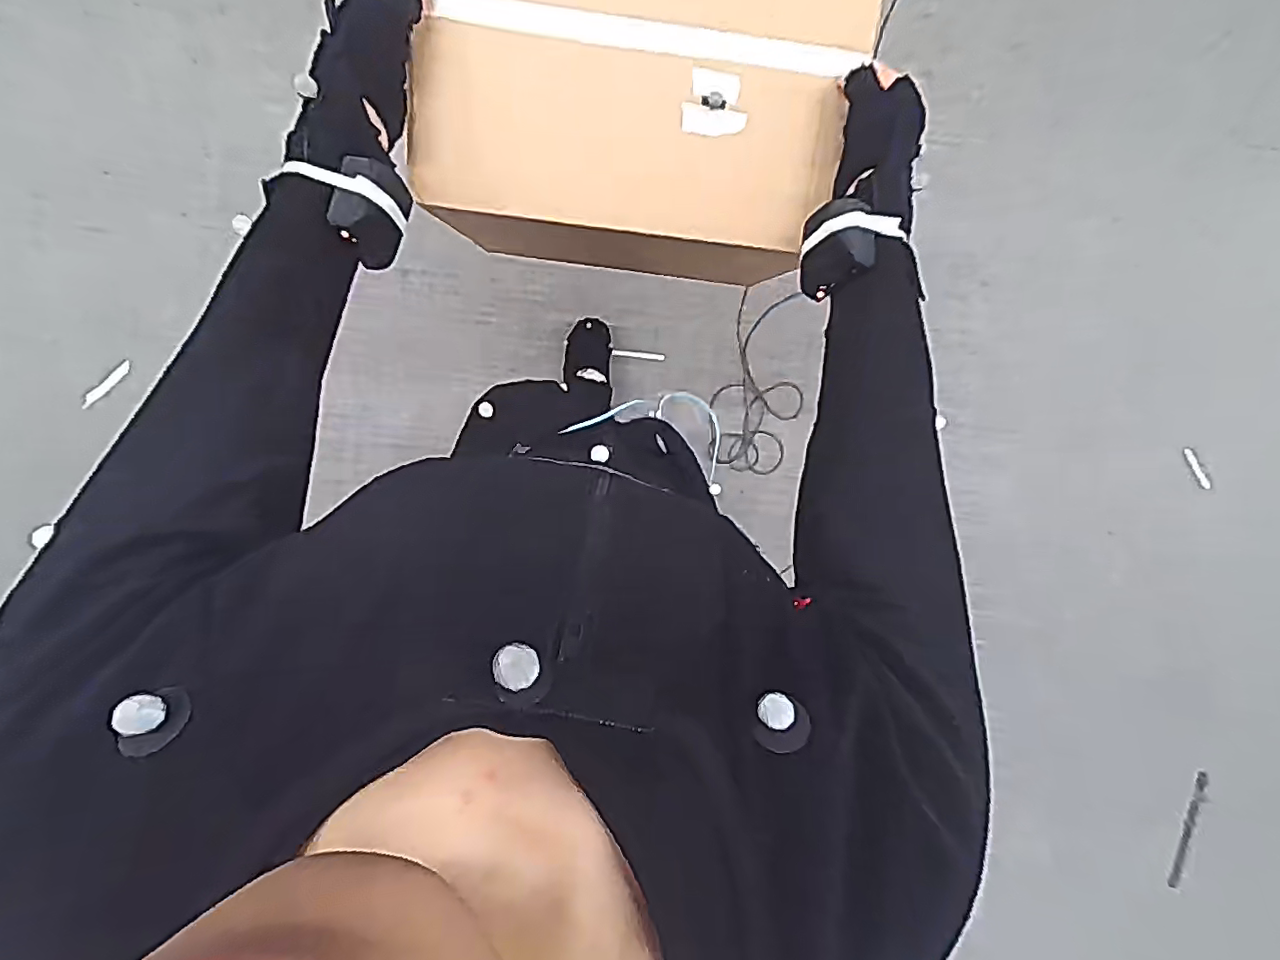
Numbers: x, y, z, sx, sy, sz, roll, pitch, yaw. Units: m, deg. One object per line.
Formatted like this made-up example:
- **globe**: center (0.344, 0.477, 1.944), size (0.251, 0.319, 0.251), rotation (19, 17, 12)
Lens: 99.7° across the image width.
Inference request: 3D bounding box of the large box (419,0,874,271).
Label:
- **large box**: center (-0.003, -0.439, 0.622), size (0.408, 0.320, 0.320), rotation (5, 105, -5)
